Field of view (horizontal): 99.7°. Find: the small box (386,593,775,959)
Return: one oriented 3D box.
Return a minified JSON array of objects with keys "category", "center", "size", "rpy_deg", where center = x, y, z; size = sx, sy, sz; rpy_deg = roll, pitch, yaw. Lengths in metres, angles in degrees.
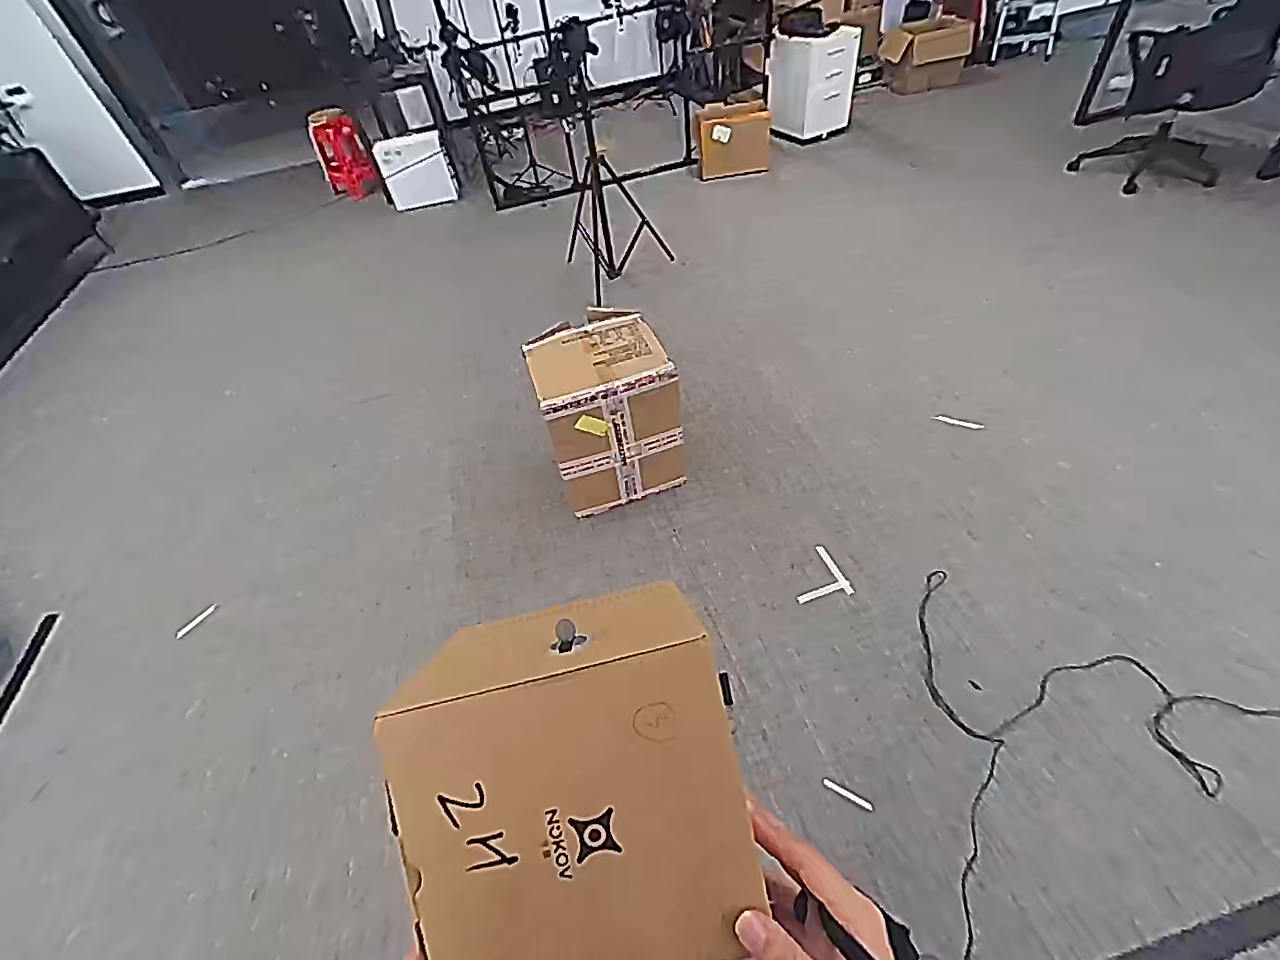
[{"category":"small box","center":[-0.034,0.183,0.358],"size":[0.179,0.176,0.168],"rpy_deg":[-13,89,-3]}]
